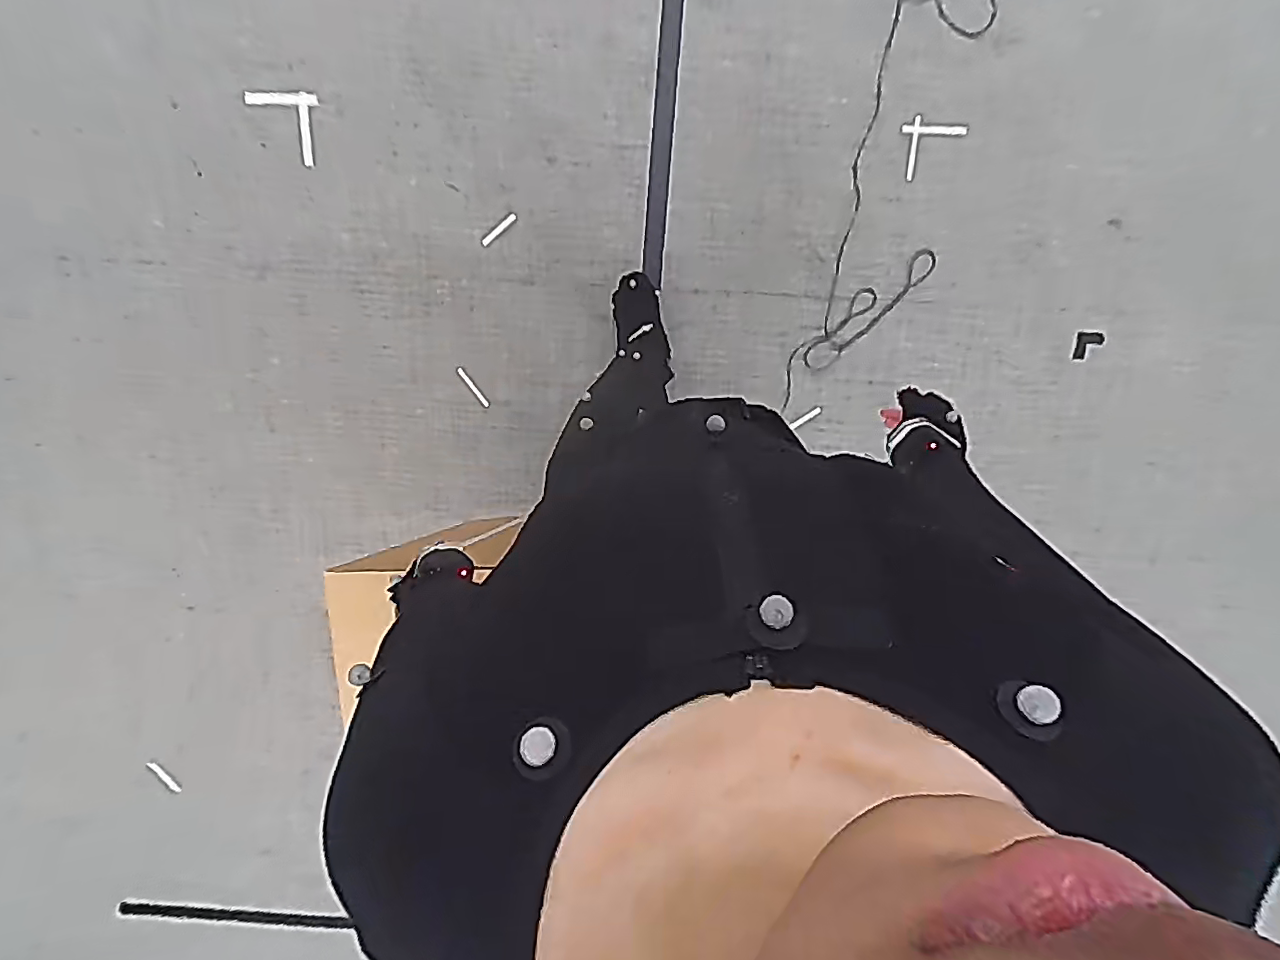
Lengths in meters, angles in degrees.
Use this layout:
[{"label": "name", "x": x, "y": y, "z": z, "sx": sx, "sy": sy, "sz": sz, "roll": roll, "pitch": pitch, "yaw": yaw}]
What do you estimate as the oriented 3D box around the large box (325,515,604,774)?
[{"label": "large box", "x": -0.271, "y": 0.254, "z": 0.975, "sx": 0.320, "sy": 0.408, "sz": 0.320, "roll": -4, "pitch": 96, "yaw": 14}]
